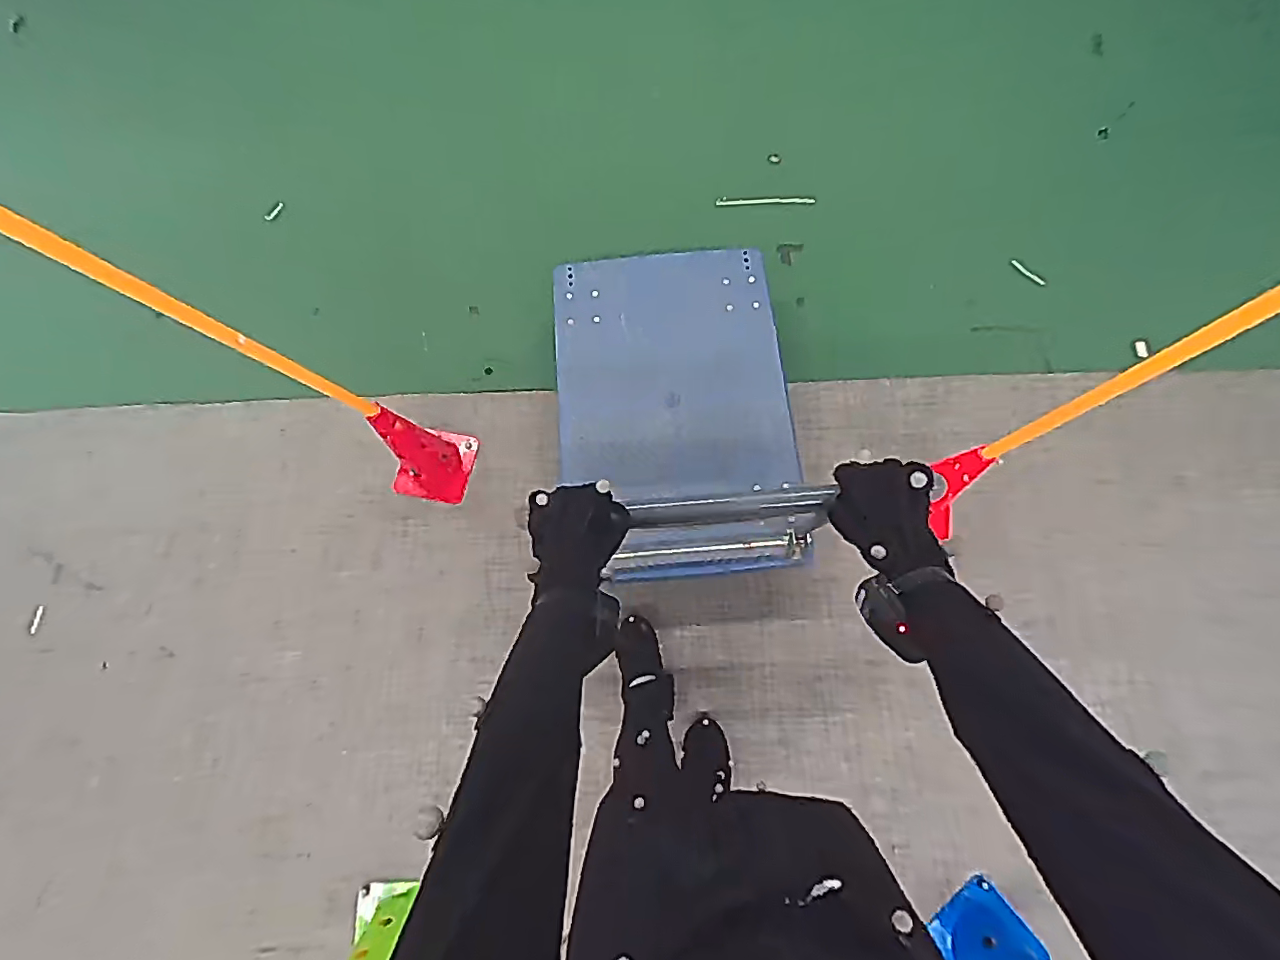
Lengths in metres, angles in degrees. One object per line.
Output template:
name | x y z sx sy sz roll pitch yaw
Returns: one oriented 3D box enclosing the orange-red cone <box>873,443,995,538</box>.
orange-red cone | 0.710 -0.005 1.260 0.198 0.360 0.199 9 74 6
